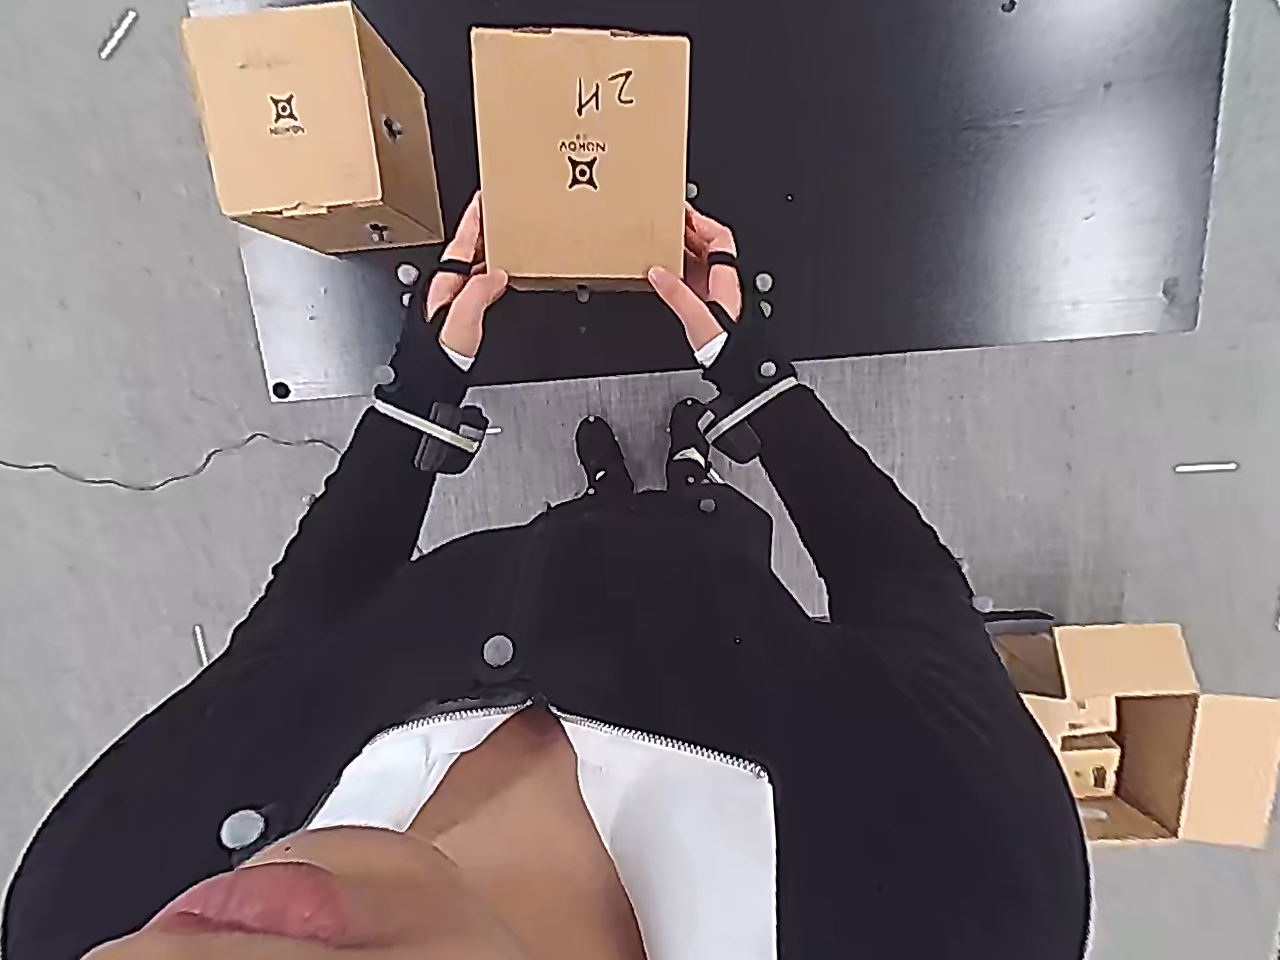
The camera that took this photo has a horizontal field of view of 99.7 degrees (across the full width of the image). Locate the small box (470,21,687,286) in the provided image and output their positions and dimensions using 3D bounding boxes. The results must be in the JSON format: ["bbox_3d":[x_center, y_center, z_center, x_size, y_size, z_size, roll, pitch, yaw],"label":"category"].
[{"bbox_3d":[-0.051,-0.278,0.504,0.168,0.176,0.179,0,105,-4],"label":"small box"}]

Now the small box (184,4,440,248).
[{"bbox_3d":[-0.338,-0.366,0.597,0.168,0.176,0.179,-5,100,1],"label":"small box"}]
